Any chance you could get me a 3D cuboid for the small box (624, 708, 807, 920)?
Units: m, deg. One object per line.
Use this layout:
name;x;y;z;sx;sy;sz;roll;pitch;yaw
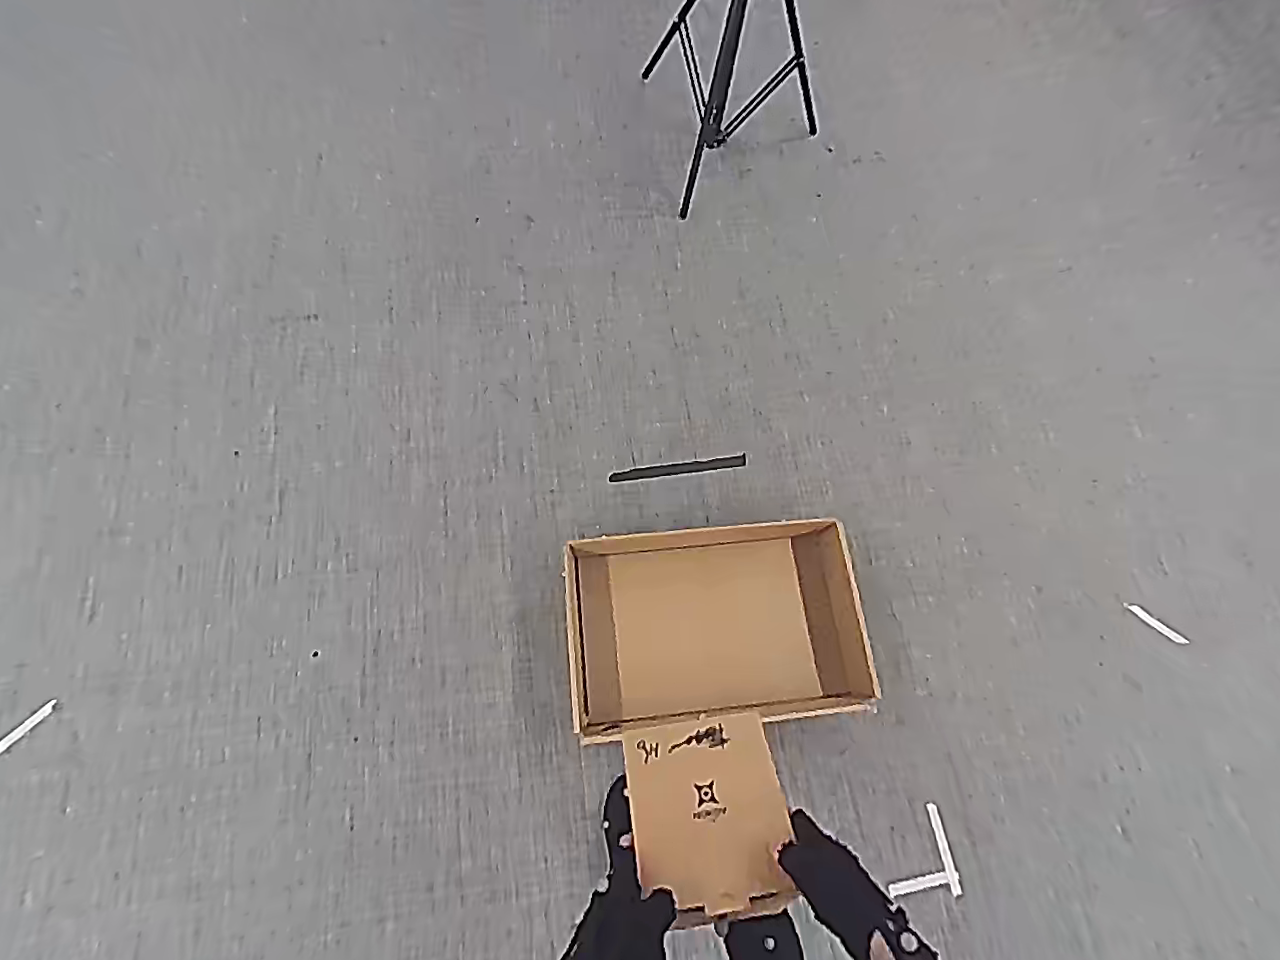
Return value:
small box;0.075;0.394;0.634;0.168;0.176;0.179;-6;48;-6
